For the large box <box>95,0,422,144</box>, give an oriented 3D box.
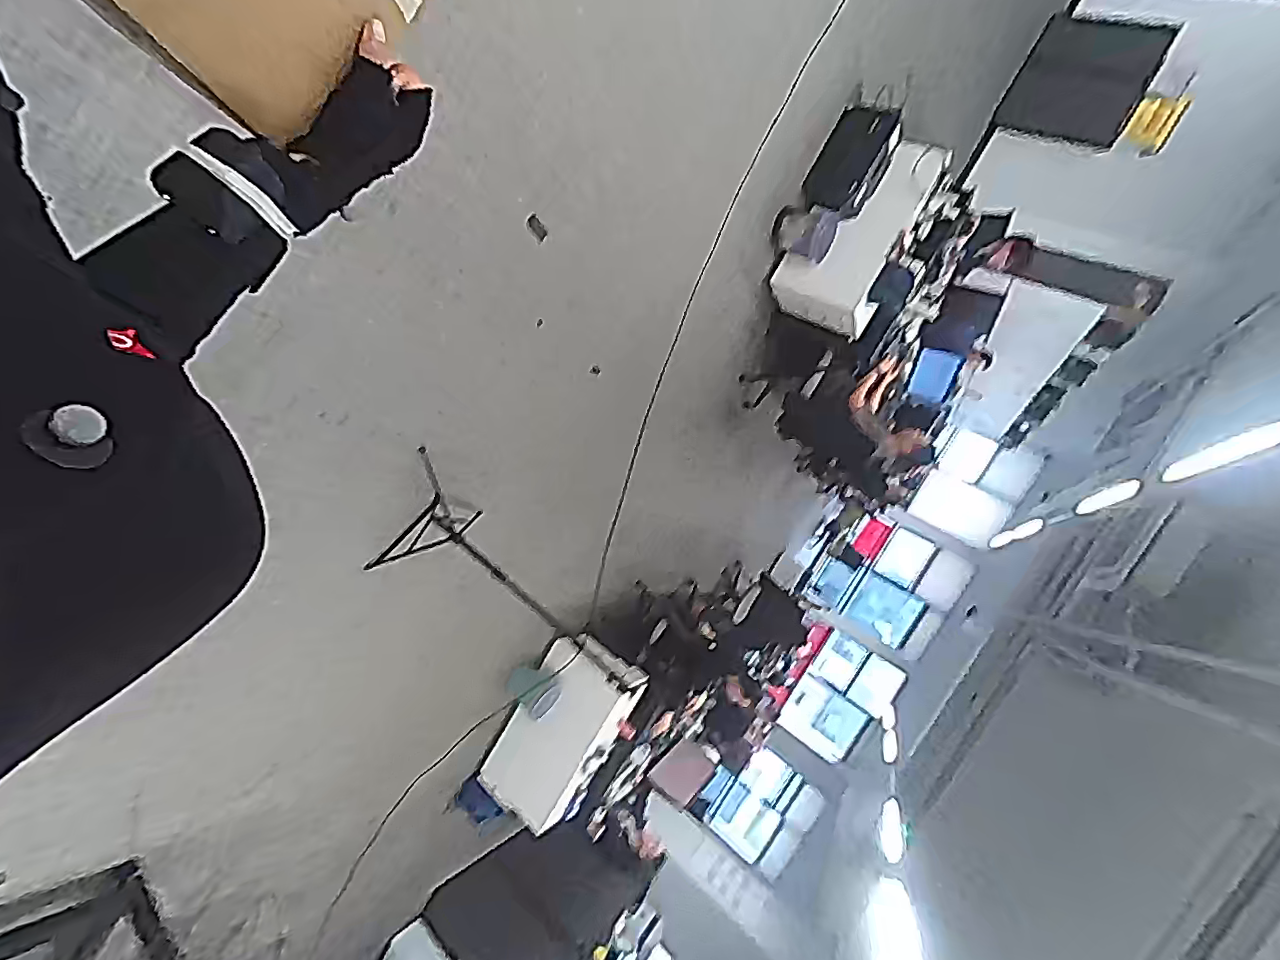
[{"bbox_3d":[-0.346,-0.518,0.306,0.320,0.320,0.408,-49,160,-2],"label":"large box"}]
